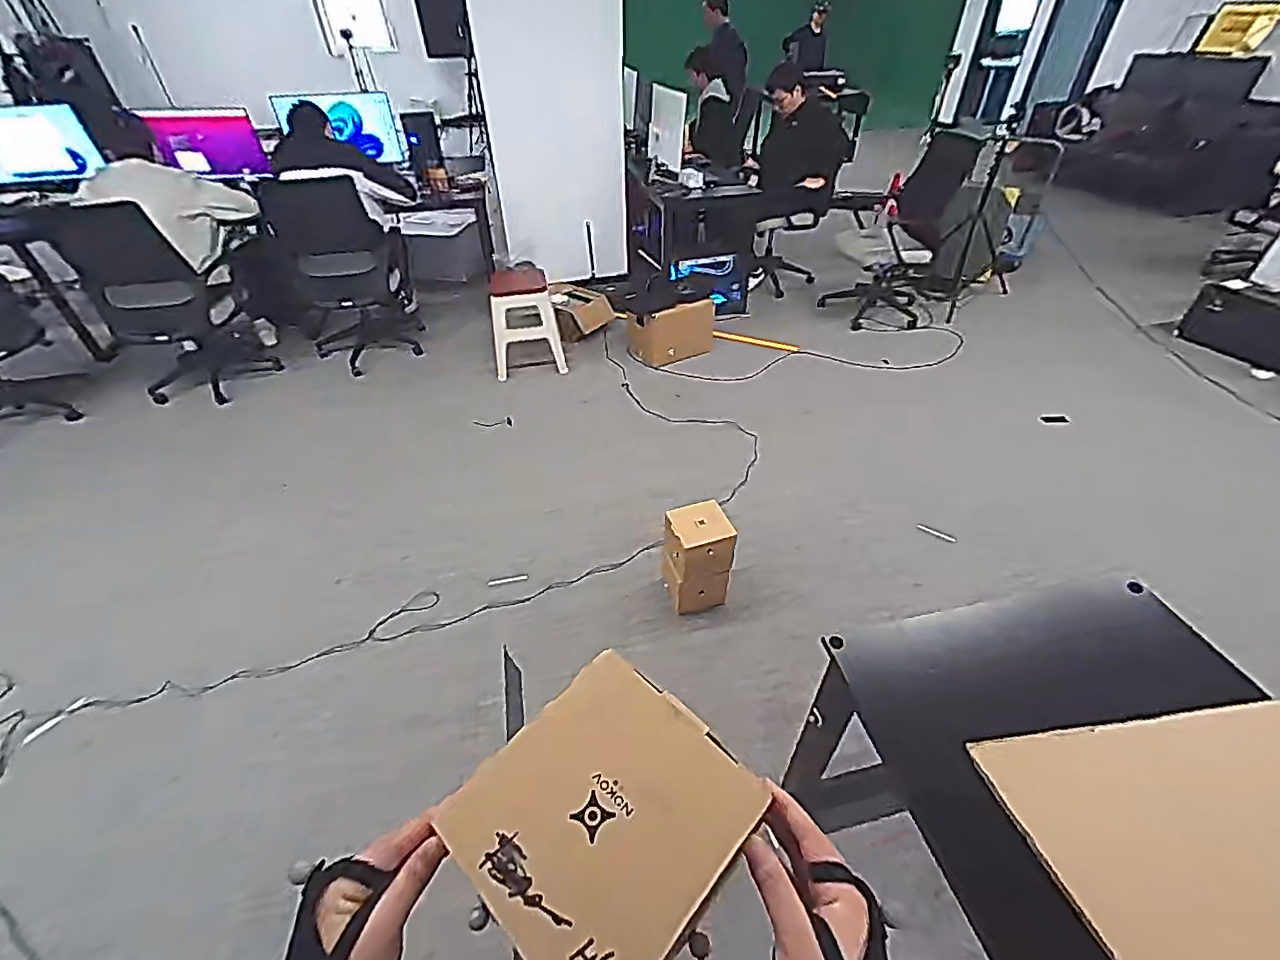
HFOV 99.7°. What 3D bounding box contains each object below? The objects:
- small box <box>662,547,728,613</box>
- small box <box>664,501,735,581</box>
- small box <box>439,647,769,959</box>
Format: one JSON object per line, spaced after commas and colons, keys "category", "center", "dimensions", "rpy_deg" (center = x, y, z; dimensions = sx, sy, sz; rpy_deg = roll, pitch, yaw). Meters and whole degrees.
{"category": "small box", "center": [0.180, 0.323, 1.828], "dimensions": [0.179, 0.176, 0.168], "rpy_deg": [-12, 42, -12]}
{"category": "small box", "center": [0.183, 0.198, 1.724], "dimensions": [0.179, 0.176, 0.168], "rpy_deg": [-13, 43, -15]}
{"category": "small box", "center": [-0.023, 0.280, 0.432], "dimensions": [0.168, 0.176, 0.179], "rpy_deg": [31, 53, 31]}
